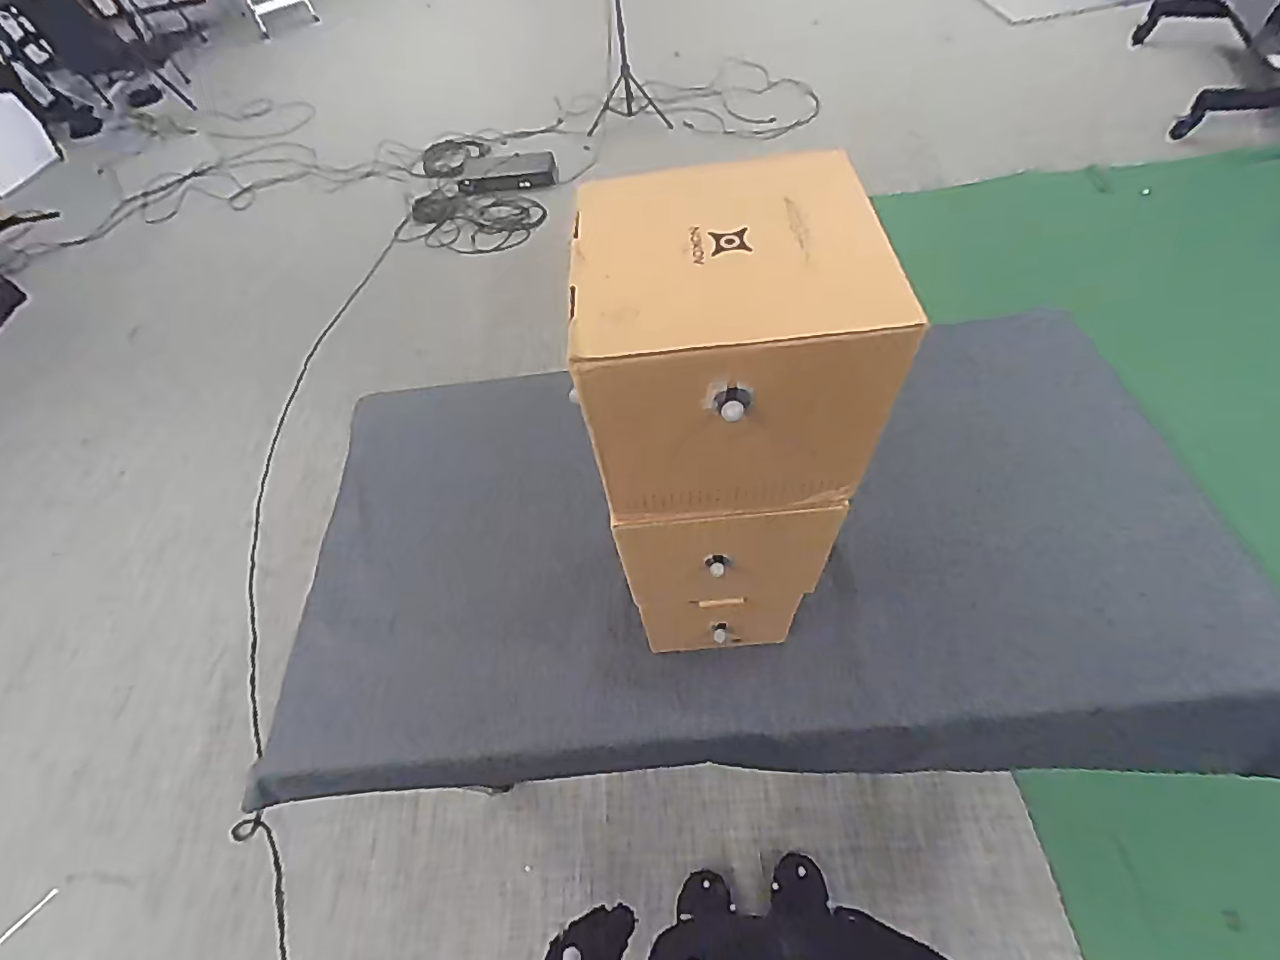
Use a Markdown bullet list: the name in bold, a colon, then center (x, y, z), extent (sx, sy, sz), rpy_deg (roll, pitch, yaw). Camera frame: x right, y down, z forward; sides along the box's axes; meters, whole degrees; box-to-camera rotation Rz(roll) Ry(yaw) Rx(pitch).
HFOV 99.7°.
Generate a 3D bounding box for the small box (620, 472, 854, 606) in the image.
- **small box**: center (0.072, 0.006, 0.507), extent (0.179, 0.176, 0.168), rpy_deg (-7, 57, 1)

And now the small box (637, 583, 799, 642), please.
- **small box**: center (0.084, 0.088, 0.649), extent (0.168, 0.176, 0.179), rpy_deg (-6, 57, 4)

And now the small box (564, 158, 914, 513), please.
- **small box**: center (0.054, -0.087, 0.376), extent (0.179, 0.176, 0.168), rpy_deg (-5, 57, 3)
